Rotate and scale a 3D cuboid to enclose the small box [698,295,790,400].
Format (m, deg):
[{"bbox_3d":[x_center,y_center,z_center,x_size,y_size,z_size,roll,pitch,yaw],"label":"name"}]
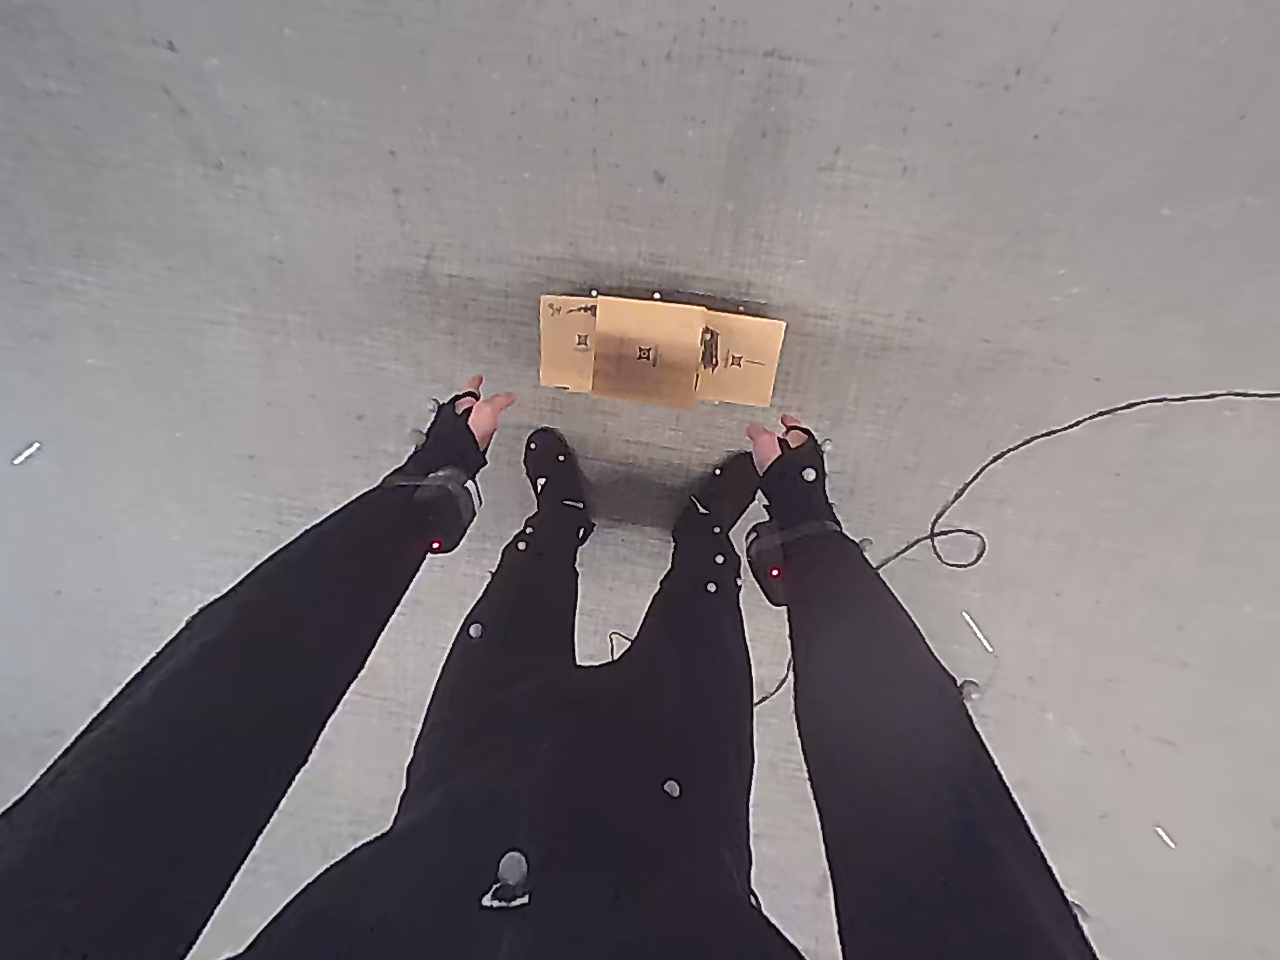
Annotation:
[{"bbox_3d":[0.187,-0.275,1.099,0.179,0.176,0.168,13,111,2],"label":"small box"}]

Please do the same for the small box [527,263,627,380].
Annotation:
[{"bbox_3d":[-0.097,-0.319,1.106,0.179,0.176,0.168,-23,103,14],"label":"small box"}]

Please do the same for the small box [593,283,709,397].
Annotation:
[{"bbox_3d":[0.023,-0.249,0.954,0.179,0.176,0.168,8,107,4],"label":"small box"}]
